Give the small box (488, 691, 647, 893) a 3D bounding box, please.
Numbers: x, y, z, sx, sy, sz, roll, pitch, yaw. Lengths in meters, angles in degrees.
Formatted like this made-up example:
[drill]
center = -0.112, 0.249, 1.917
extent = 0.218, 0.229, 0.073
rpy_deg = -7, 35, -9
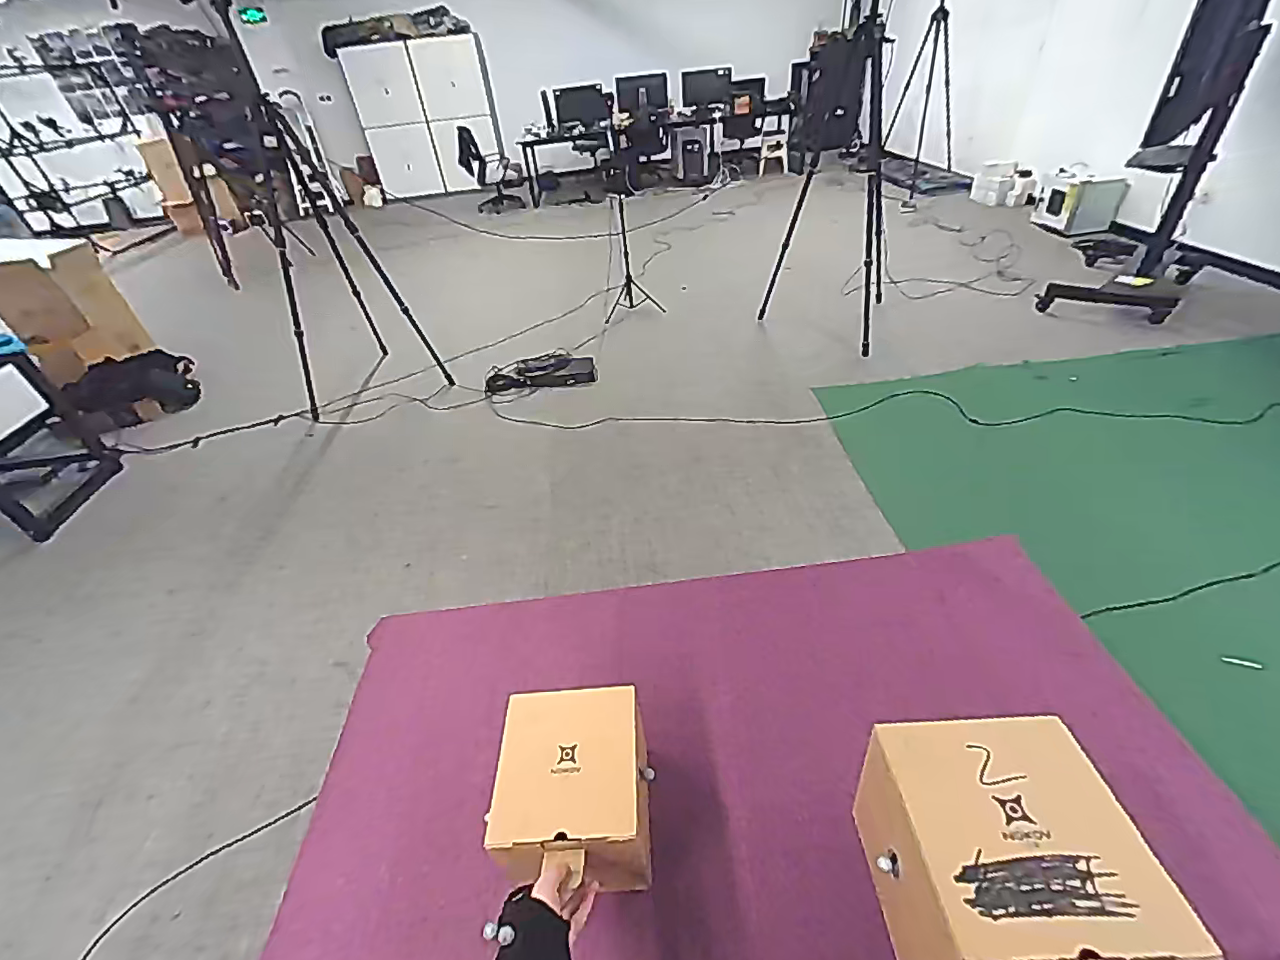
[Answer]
[small box]
center = -0.080, 0.400, 0.698
extent = 0.168, 0.176, 0.179
rpy_deg = -5, 39, 2
